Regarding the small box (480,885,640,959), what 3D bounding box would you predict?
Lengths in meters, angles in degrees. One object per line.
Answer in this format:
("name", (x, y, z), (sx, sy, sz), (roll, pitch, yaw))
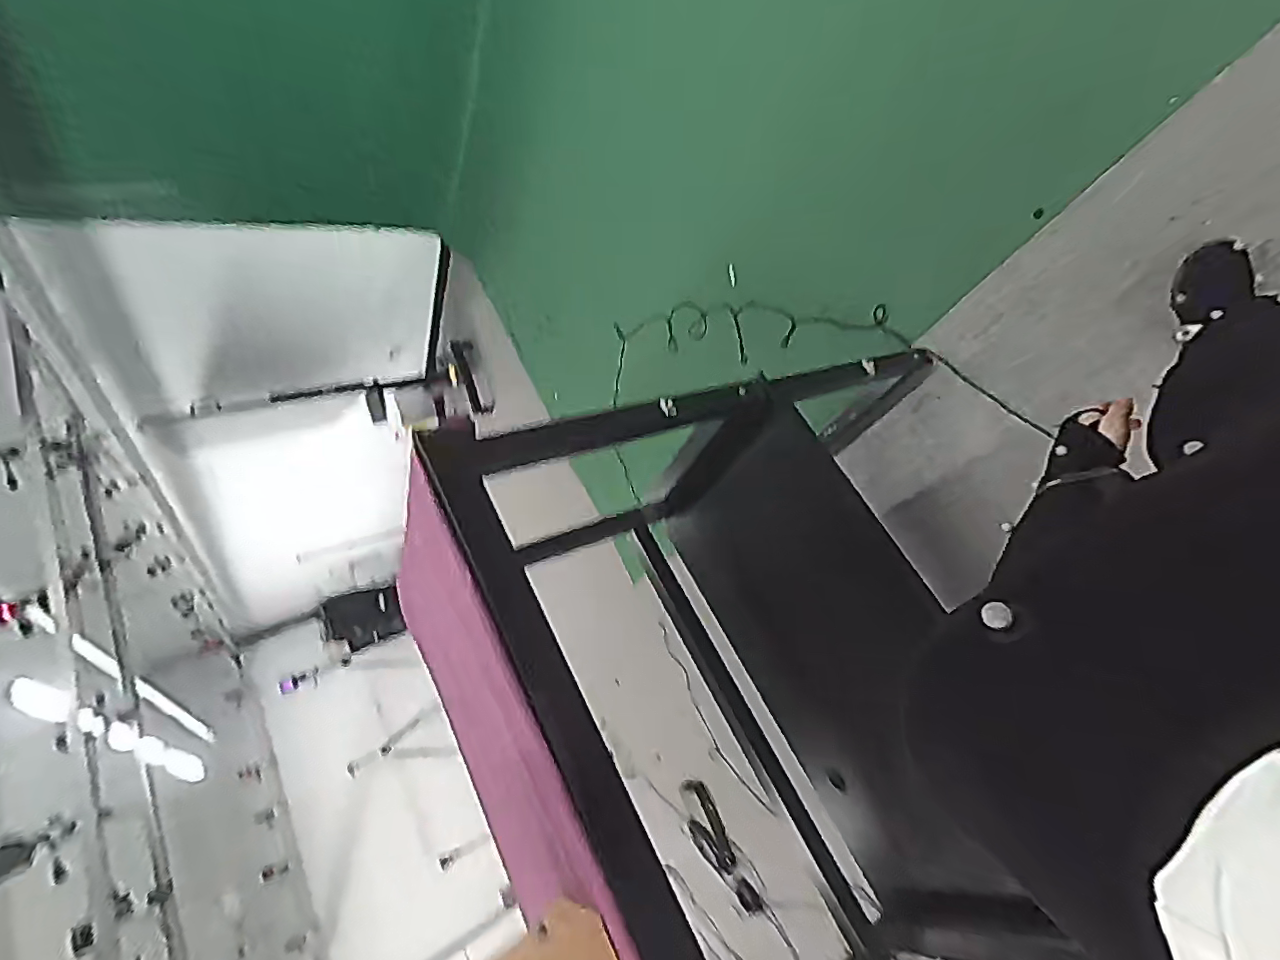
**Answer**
("small box", (-0.083, 0.632, 0.640), (0.179, 0.176, 0.168), (62, 146, 18))
